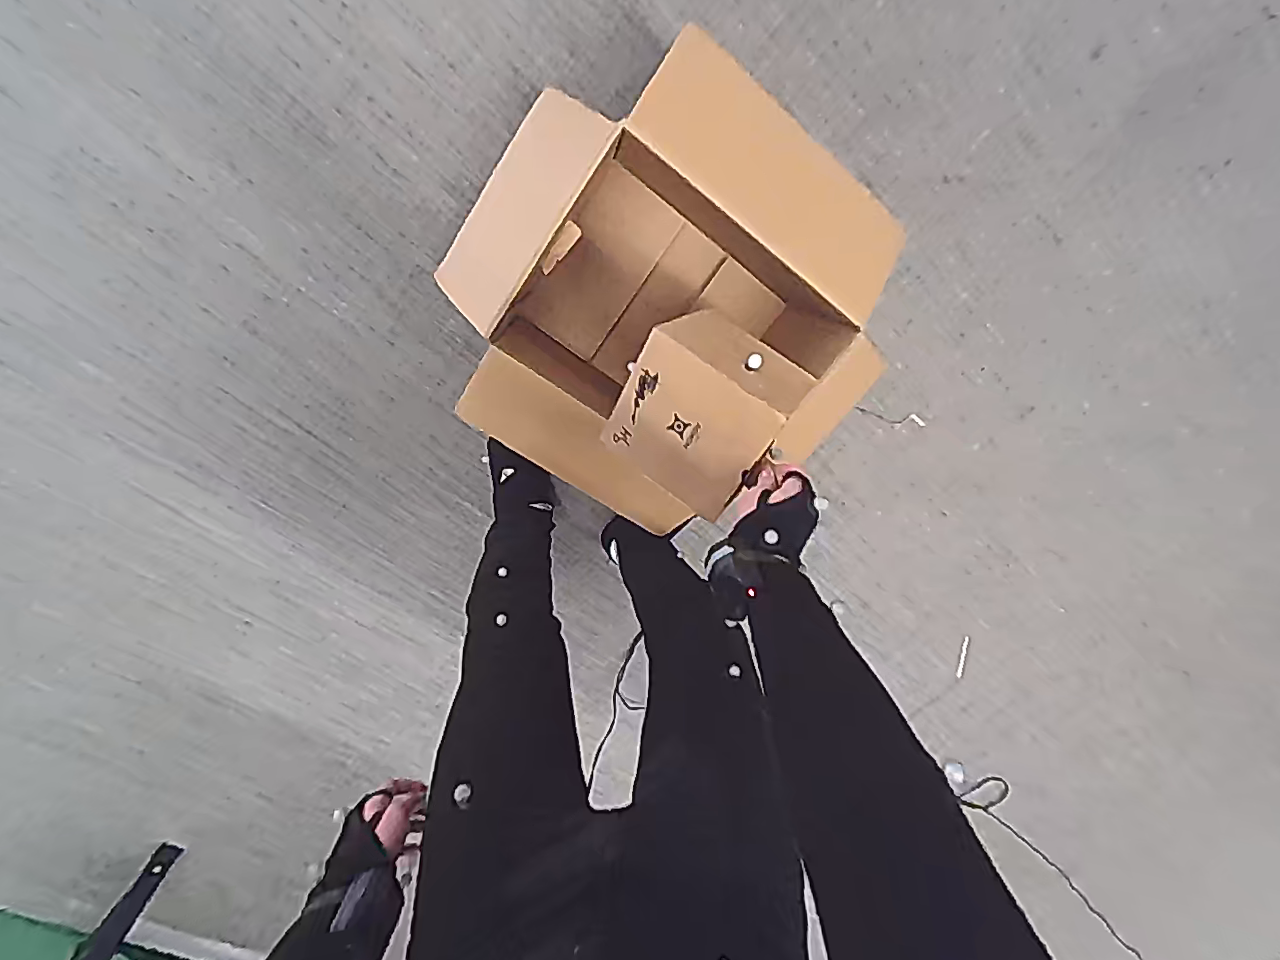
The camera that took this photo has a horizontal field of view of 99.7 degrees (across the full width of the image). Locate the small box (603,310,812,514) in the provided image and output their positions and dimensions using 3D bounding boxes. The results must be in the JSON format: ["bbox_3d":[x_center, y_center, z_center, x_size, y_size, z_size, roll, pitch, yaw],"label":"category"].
[{"bbox_3d":[0.091,-0.096,0.678,0.179,0.176,0.168,37,124,9],"label":"small box"}]
